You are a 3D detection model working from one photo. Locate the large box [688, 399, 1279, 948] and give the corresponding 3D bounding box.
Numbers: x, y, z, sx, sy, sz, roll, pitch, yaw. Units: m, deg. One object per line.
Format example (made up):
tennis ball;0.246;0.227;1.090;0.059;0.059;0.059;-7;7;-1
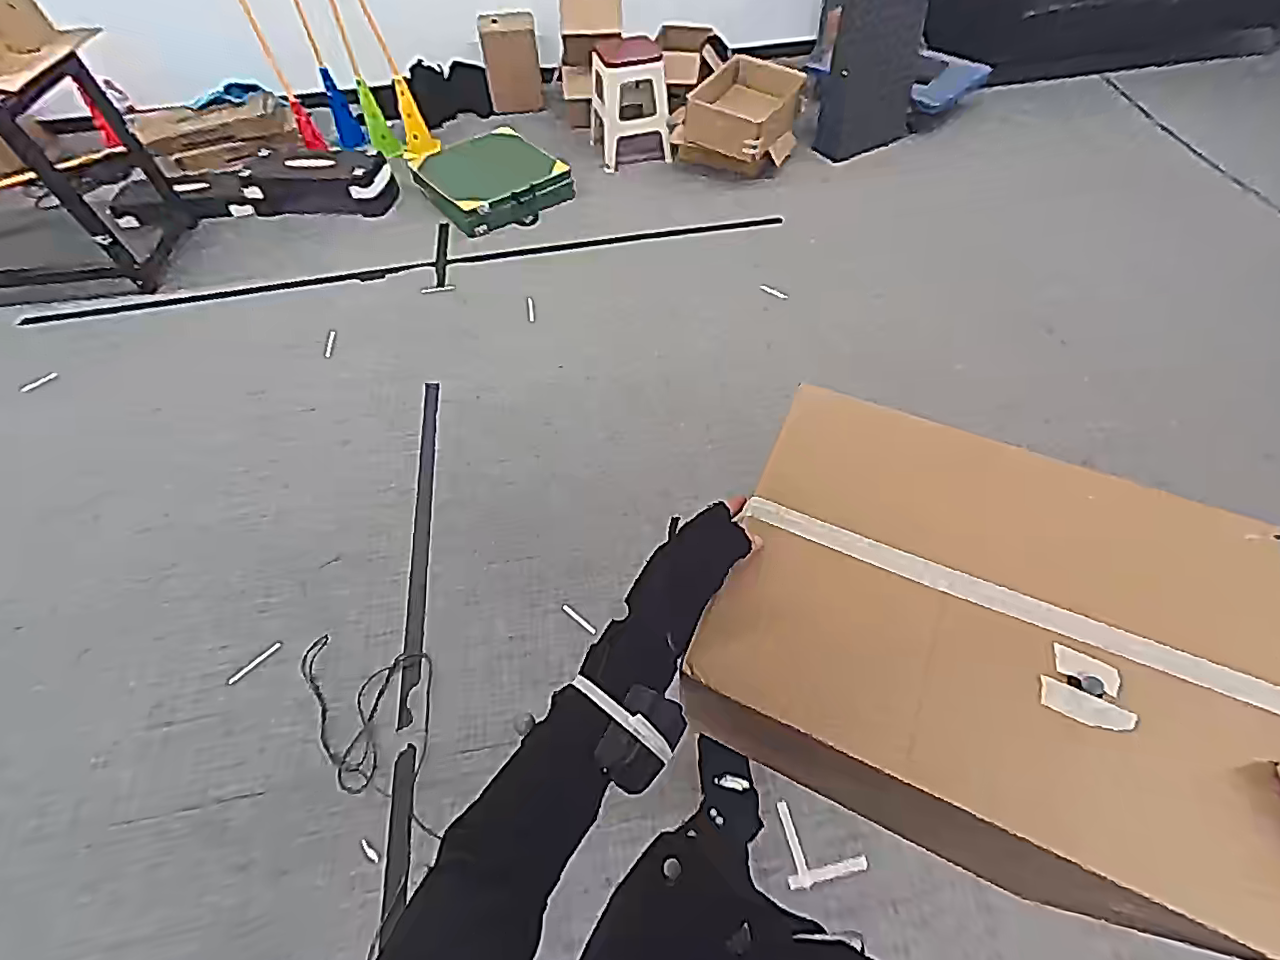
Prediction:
large box;0.291;0.174;0.570;0.408;0.320;0.320;21;64;16
